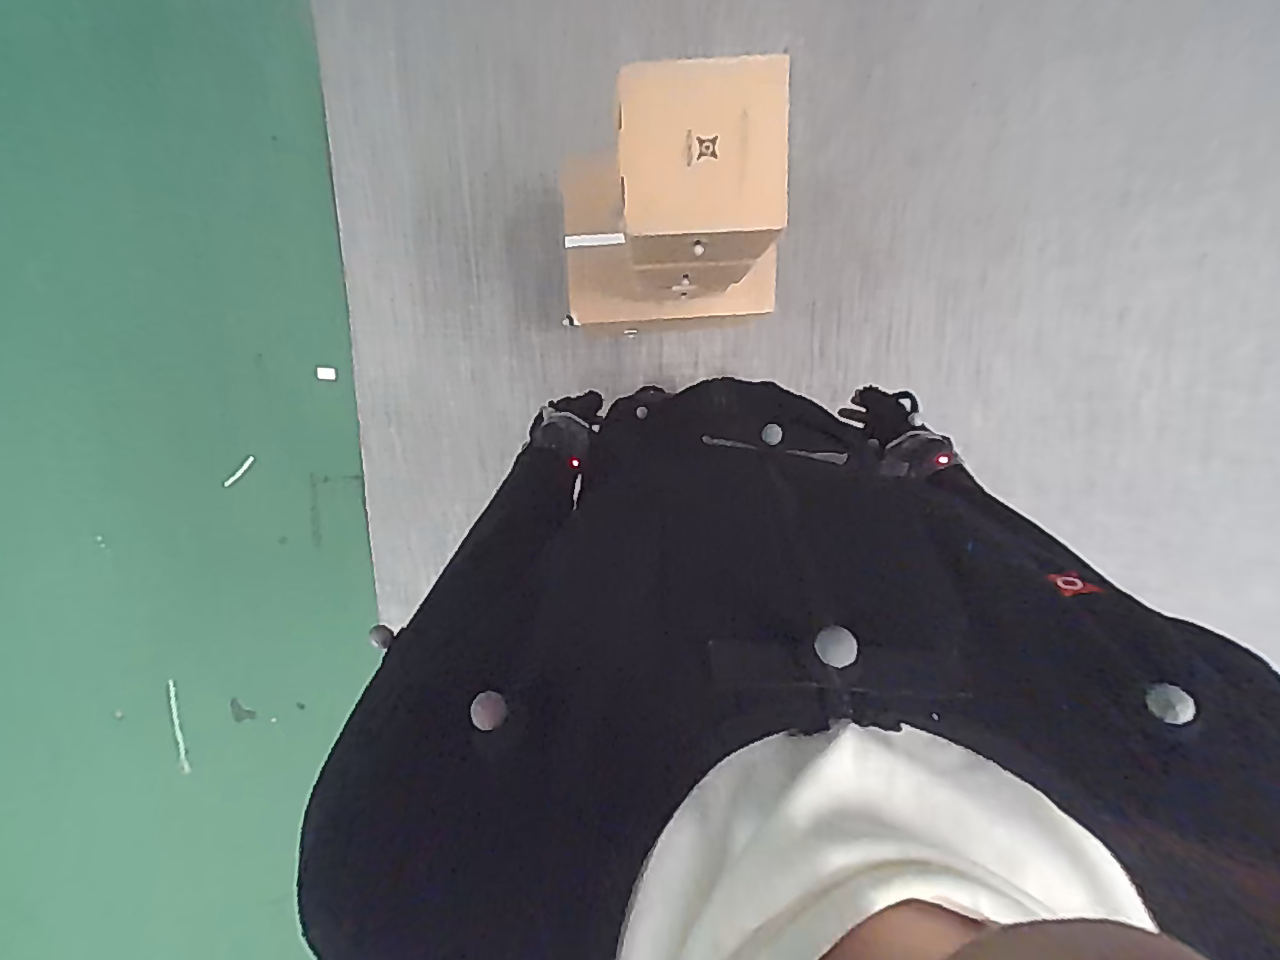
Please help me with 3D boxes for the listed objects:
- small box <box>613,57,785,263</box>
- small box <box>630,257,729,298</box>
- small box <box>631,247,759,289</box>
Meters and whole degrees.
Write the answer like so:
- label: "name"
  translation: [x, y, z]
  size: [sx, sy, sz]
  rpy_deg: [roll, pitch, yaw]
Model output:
- label: "small box"
  translation: [0.065, -0.360, 0.641]
  size: [0.179, 0.176, 0.168]
  rpy_deg: [-2, 102, 2]
- label: "small box"
  translation: [0.067, -0.423, 0.961]
  size: [0.168, 0.176, 0.179]
  rpy_deg: [-4, 102, 3]
- label: "small box"
  translation: [0.070, -0.385, 0.801]
  size: [0.179, 0.176, 0.168]
  rpy_deg: [-5, 101, 2]
